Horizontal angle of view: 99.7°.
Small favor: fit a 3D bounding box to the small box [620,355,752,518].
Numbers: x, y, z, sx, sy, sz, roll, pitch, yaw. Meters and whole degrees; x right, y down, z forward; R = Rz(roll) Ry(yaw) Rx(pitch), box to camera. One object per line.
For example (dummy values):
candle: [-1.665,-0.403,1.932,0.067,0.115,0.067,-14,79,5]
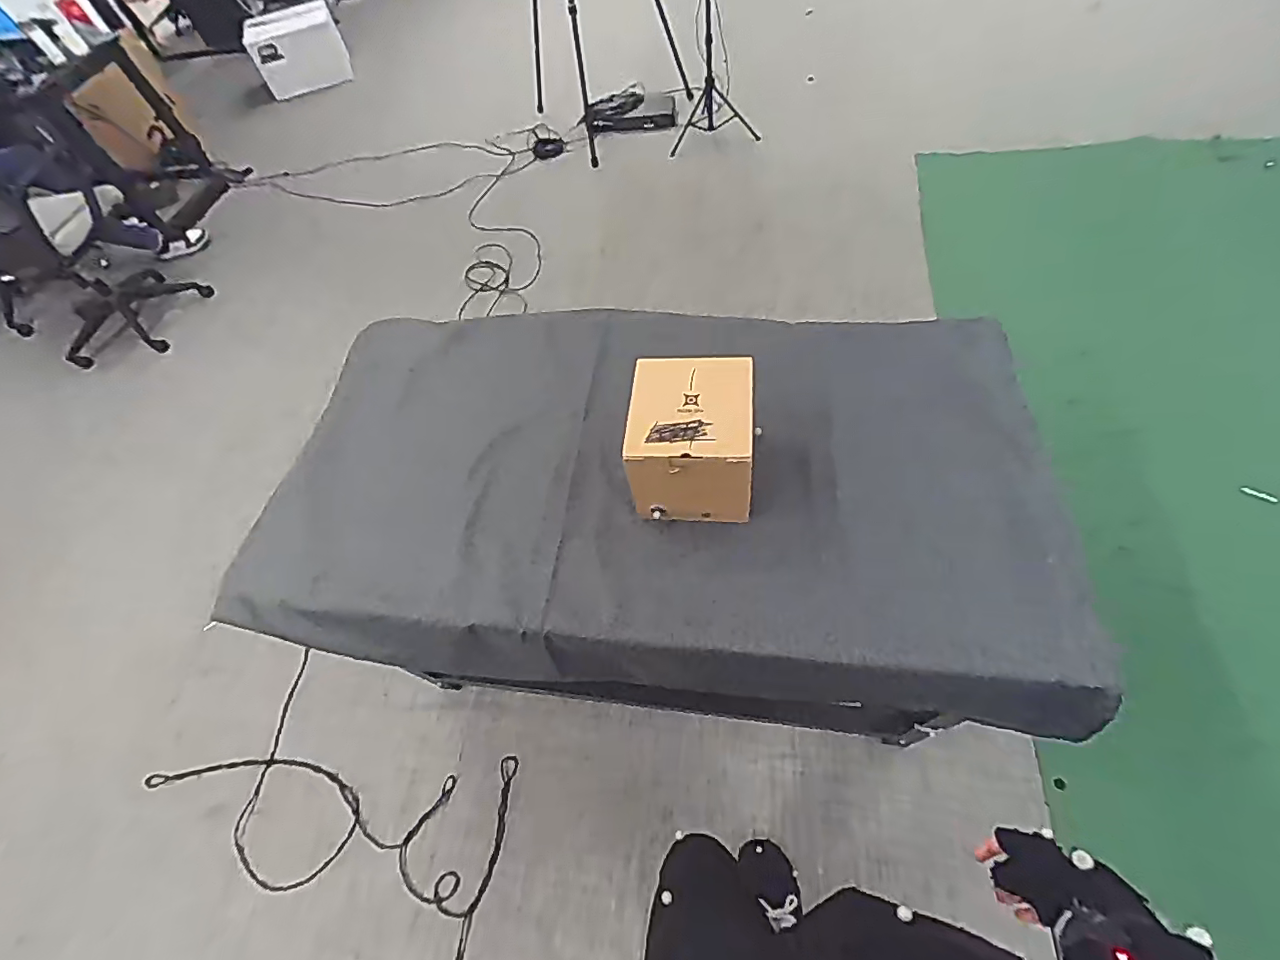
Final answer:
small box: [0.076,-0.058,0.784,0.168,0.176,0.179,1,57,10]
